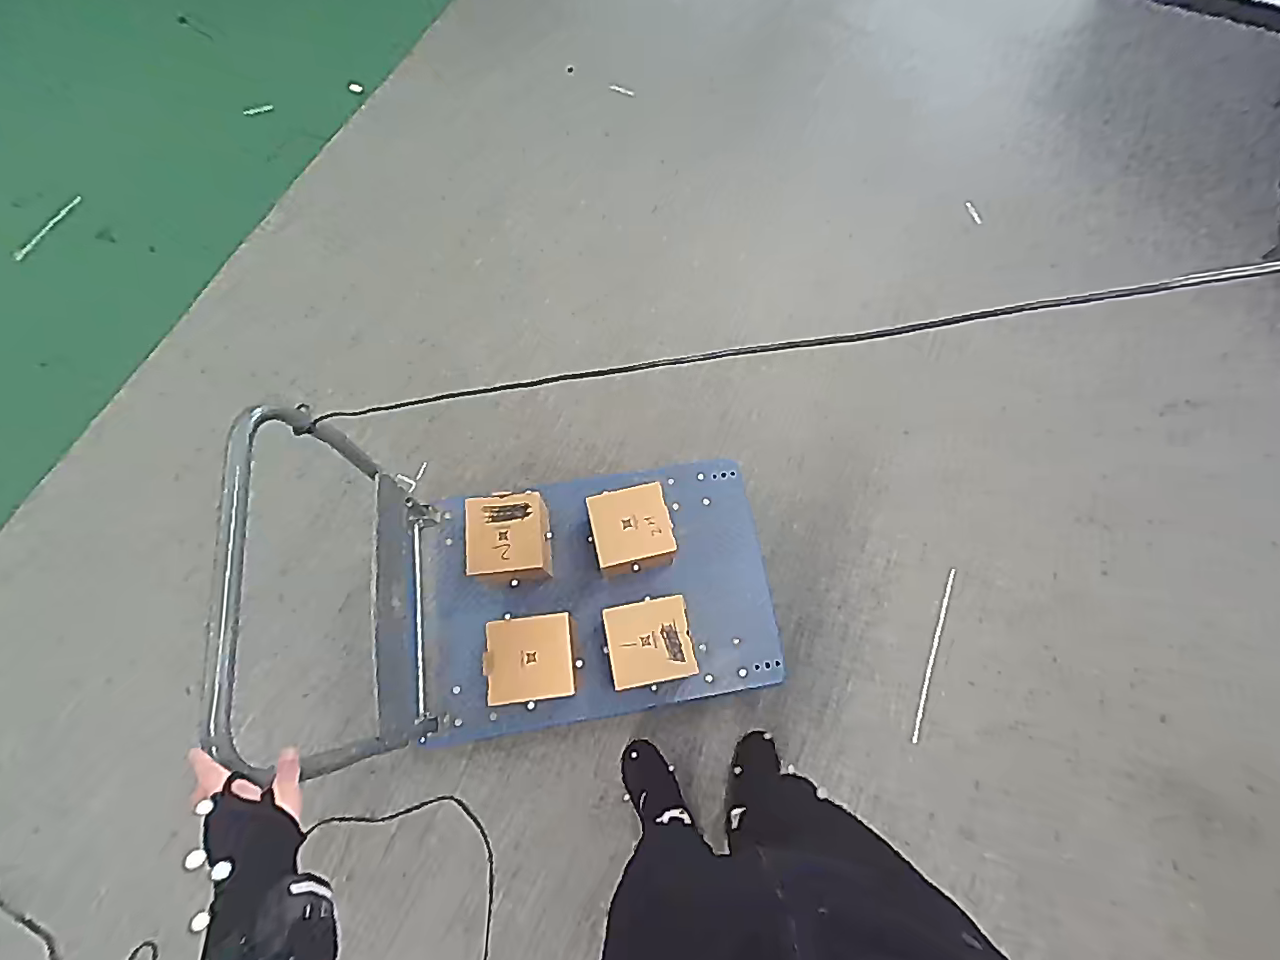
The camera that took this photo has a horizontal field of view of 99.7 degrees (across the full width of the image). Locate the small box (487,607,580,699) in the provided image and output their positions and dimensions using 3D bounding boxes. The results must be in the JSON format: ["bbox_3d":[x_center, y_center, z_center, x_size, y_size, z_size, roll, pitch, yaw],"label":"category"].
[{"bbox_3d":[-0.226,0.377,1.184,0.179,0.176,0.168,-7,71,-3],"label":"small box"}]

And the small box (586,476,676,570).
[{"bbox_3d":[-0.020,0.108,1.274,0.179,0.176,0.168,-12,73,-5],"label":"small box"}]

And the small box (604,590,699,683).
[{"bbox_3d":[0.022,0.345,1.193,0.179,0.176,0.168,-10,71,-3],"label":"small box"}]
